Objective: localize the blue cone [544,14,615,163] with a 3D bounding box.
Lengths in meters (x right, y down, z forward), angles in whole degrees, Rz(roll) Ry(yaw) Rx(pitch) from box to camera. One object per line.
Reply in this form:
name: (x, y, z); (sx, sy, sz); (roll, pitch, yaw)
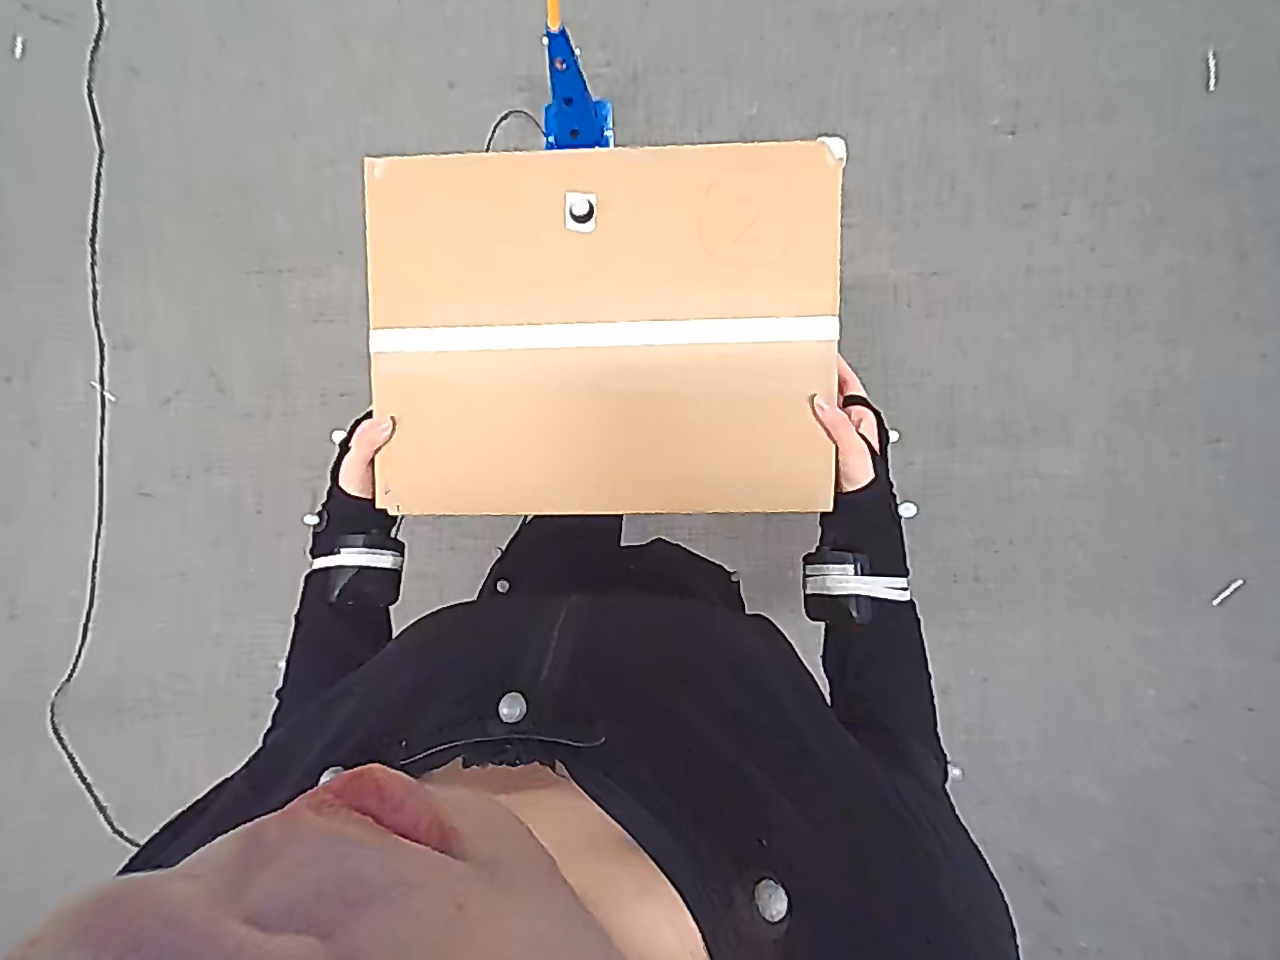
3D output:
blue cone: (-0.174, -0.994, 1.354); (0.193, 0.380, 0.192); (-4, 88, 1)
